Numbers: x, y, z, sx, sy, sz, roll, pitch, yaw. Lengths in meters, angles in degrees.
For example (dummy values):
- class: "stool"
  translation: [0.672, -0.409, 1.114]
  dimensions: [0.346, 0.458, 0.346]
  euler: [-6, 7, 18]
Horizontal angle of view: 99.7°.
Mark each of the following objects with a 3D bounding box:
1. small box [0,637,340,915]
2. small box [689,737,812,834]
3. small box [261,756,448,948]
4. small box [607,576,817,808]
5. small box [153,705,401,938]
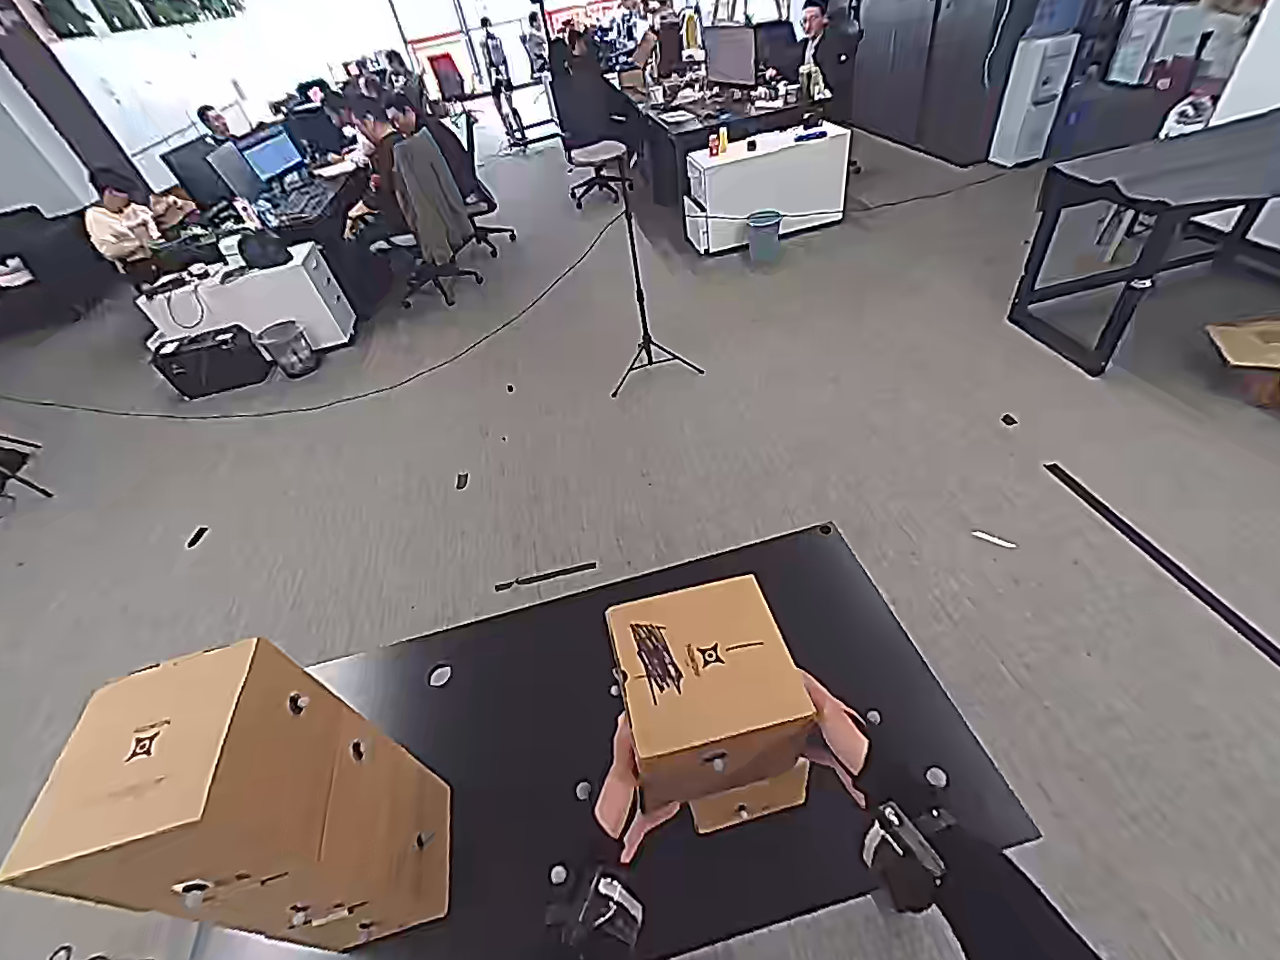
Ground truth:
- class: "small box"
  translation: [-0.431, 0.293, 0.539]
  dimensions: [0.168, 0.176, 0.179]
  euler: [-17, 44, -3]
- class: "small box"
  translation: [0.134, 0.385, 0.798]
  dimensions: [0.168, 0.176, 0.179]
  euler: [-15, 44, -3]
- class: "small box"
  translation: [-0.382, 0.528, 0.762]
  dimensions: [0.168, 0.176, 0.179]
  euler: [-16, 44, -5]
- class: "small box"
  translation: [0.070, 0.237, 0.600]
  dimensions: [0.179, 0.176, 0.168]
  euler: [-11, 45, -7]
- class: "small box"
  translation: [-0.407, 0.409, 0.650]
  dimensions: [0.168, 0.176, 0.179]
  euler: [-16, 43, -3]
